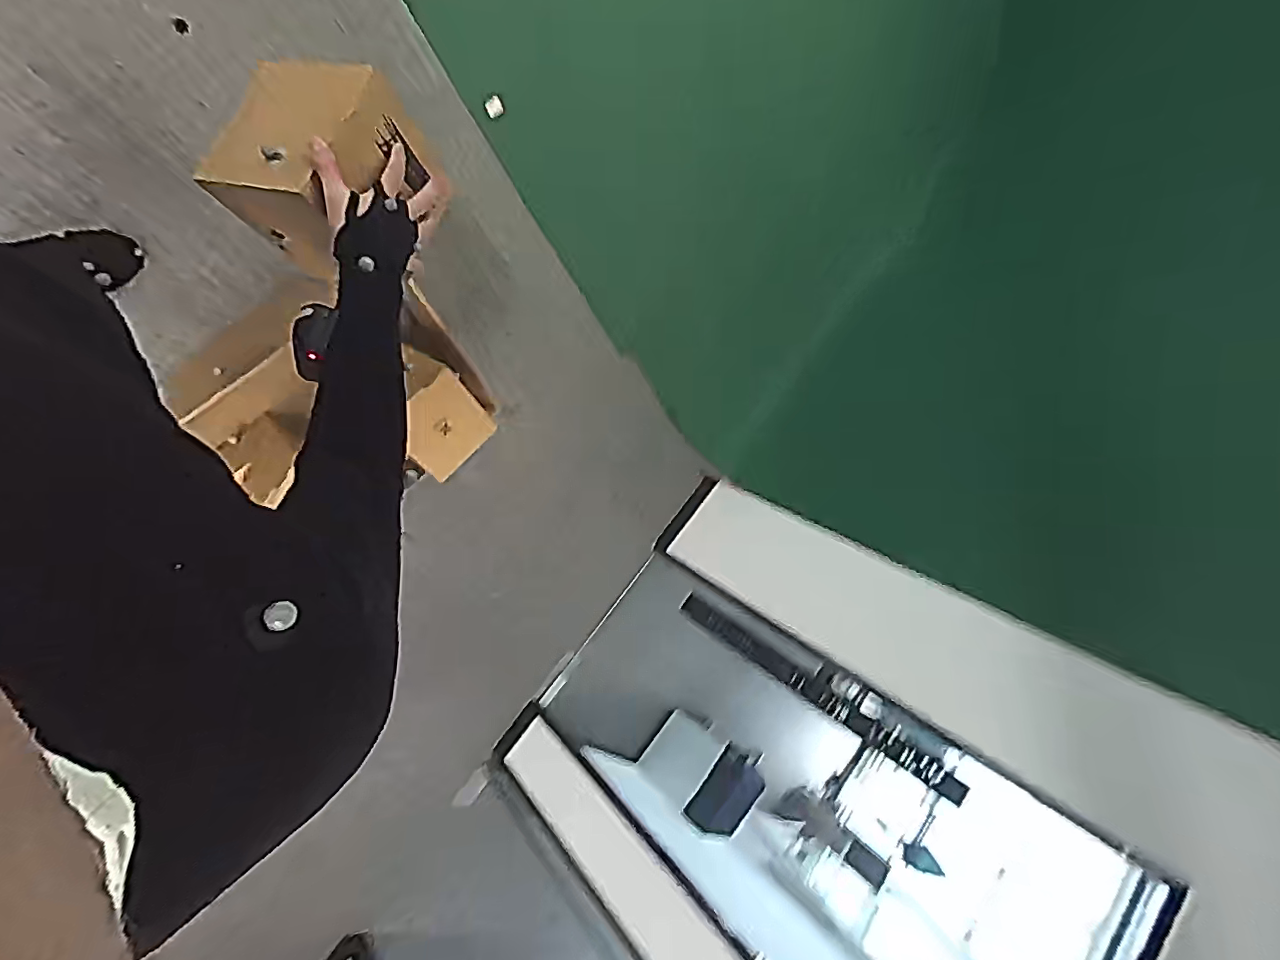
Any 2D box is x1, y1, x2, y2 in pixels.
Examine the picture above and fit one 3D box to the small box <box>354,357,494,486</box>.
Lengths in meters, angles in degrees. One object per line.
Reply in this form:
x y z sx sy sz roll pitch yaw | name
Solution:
-0.439 -0.124 1.103 0.168 0.176 0.179 -47 137 -15 | small box
